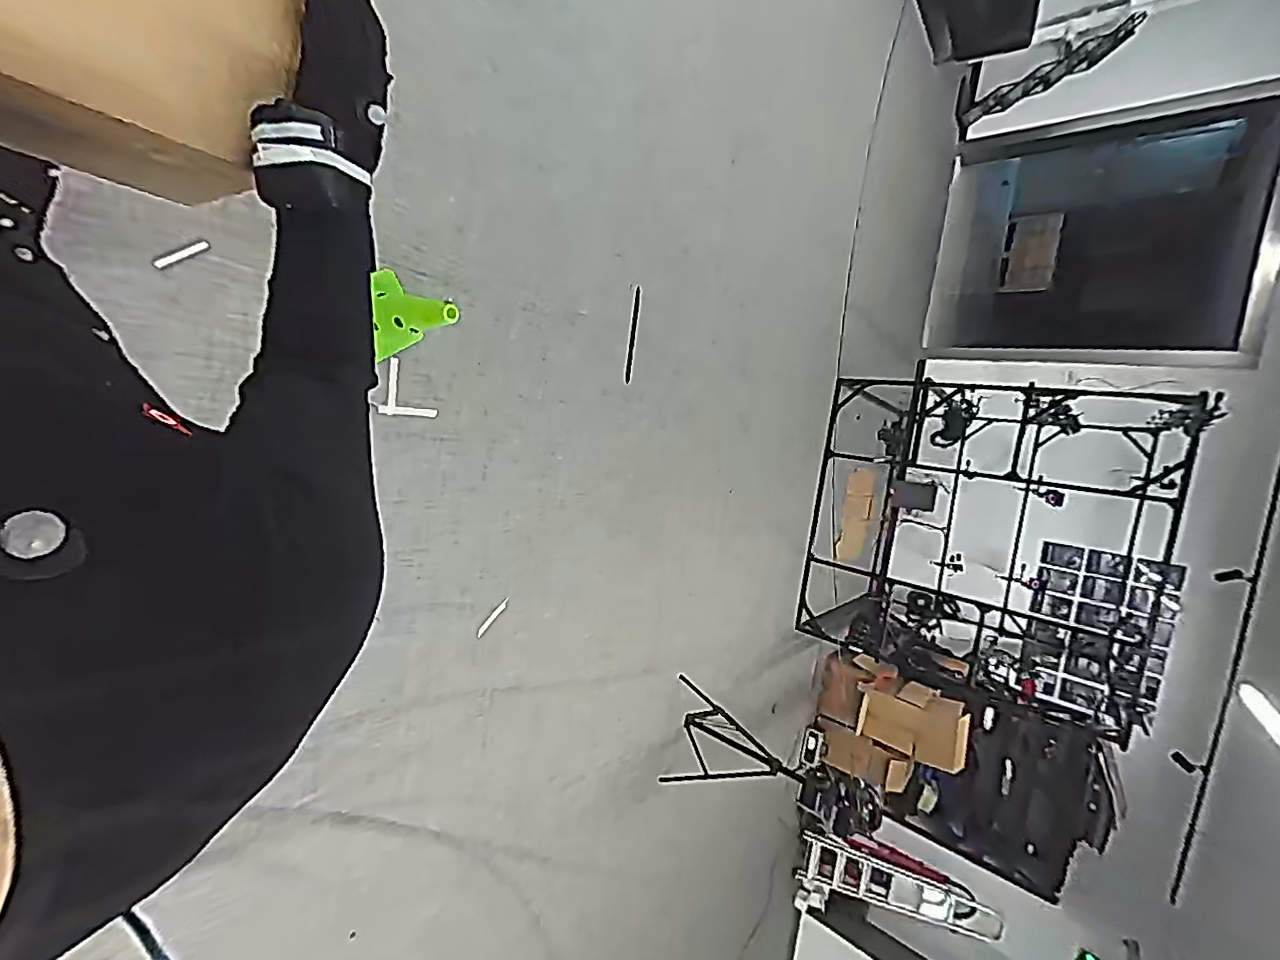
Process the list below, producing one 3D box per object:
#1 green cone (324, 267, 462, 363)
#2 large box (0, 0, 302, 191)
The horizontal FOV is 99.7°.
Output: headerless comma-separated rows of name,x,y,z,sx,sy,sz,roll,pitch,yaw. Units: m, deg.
green cone,-0.566,-0.409,1.329,0.202,0.368,0.200,-47,134,-36
large box,-0.488,-0.433,0.341,0.408,0.320,0.320,1,104,-52
